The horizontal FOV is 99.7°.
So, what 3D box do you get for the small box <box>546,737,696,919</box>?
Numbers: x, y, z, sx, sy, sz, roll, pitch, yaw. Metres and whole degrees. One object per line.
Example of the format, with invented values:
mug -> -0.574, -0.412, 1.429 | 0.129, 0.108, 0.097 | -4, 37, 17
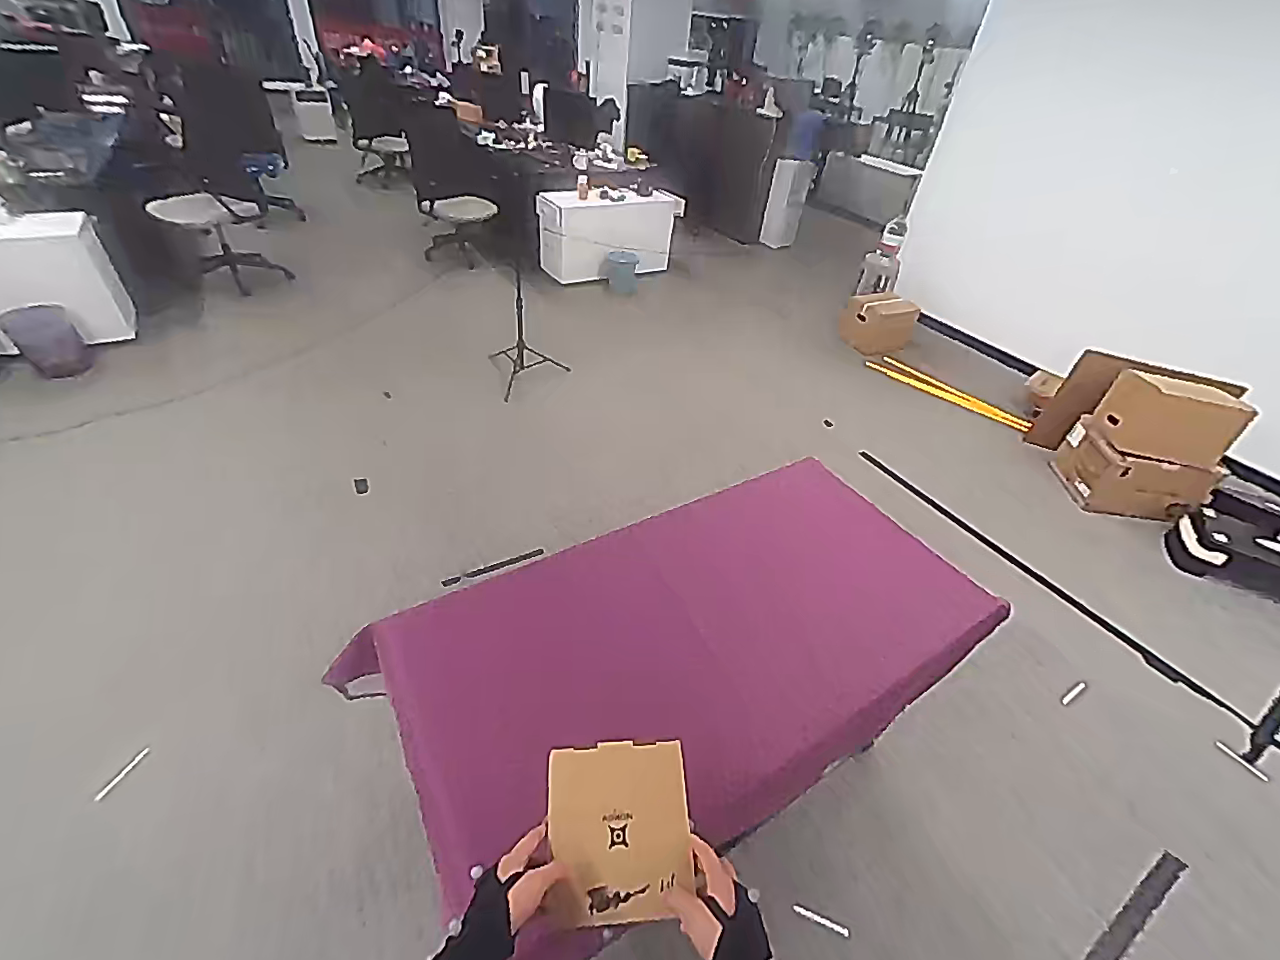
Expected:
small box -> -0.026, 0.444, 0.694 | 0.168, 0.176, 0.179 | -2, 55, -2
